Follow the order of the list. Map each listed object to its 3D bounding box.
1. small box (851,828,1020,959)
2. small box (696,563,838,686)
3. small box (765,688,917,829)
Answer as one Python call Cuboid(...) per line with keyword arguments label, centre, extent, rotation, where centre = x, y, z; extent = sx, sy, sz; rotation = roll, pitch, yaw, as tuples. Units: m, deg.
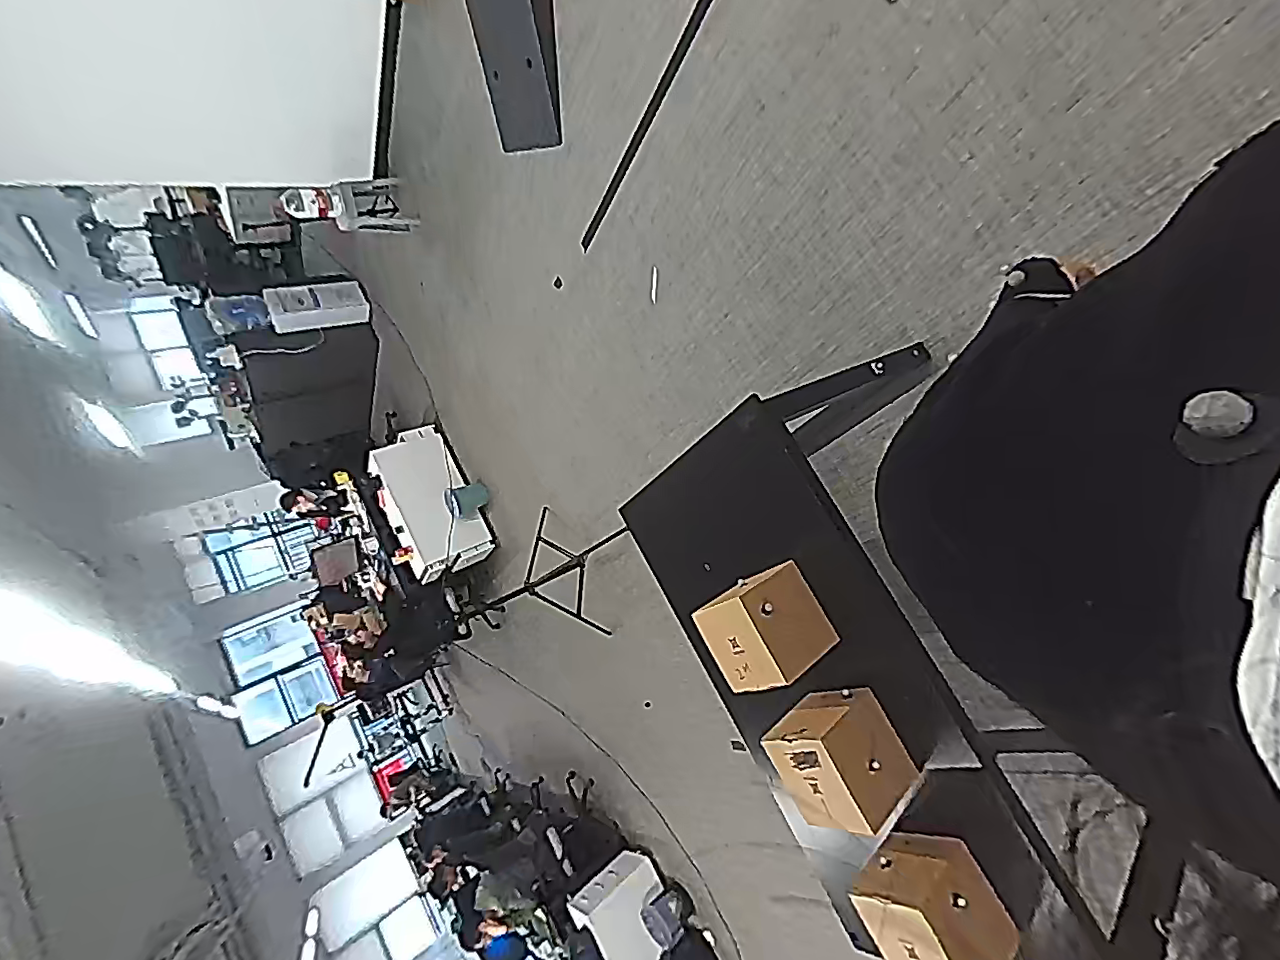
Cuboid(label="small box", centre=(0.525, 0.762, 0.967), extent=(0.179, 0.176, 0.168), rotation=(59, 145, 11))
Cuboid(label="small box", centre=(0.249, 0.279, 1.066), extent=(0.179, 0.176, 0.168), rotation=(61, 146, 10))
Cuboid(label="small box", centre=(0.379, 0.511, 1.022), extent=(0.179, 0.176, 0.168), rotation=(61, 145, 8))
